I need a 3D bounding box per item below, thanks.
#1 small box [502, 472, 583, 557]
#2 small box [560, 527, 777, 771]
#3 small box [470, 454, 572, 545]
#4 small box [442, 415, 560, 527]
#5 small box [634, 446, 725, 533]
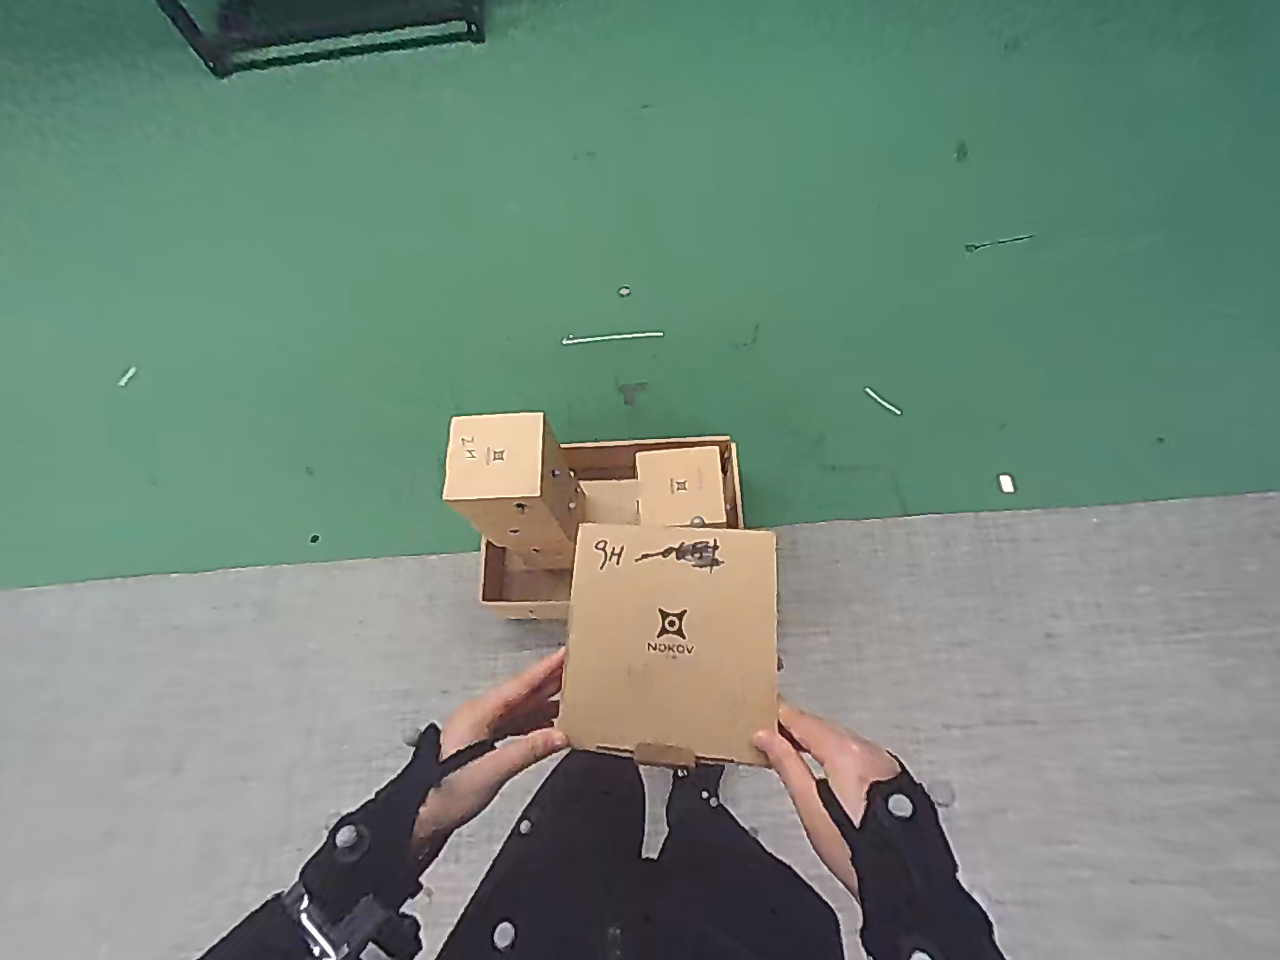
[{"bbox_3d":[-0.236,0.092,1.343,0.168,0.176,0.179,-3,70,3],"label":"small box"},{"bbox_3d":[0.033,0.147,0.499,0.168,0.176,0.179,2,74,7],"label":"small box"},{"bbox_3d":[-0.252,0.044,1.187,0.179,0.176,0.168,-2,70,2],"label":"small box"},{"bbox_3d":[-0.253,-0.012,1.031,0.179,0.176,0.168,-3,69,3],"label":"small box"},{"bbox_3d":[0.085,0.040,1.159,0.179,0.176,0.168,-5,71,4],"label":"small box"}]
